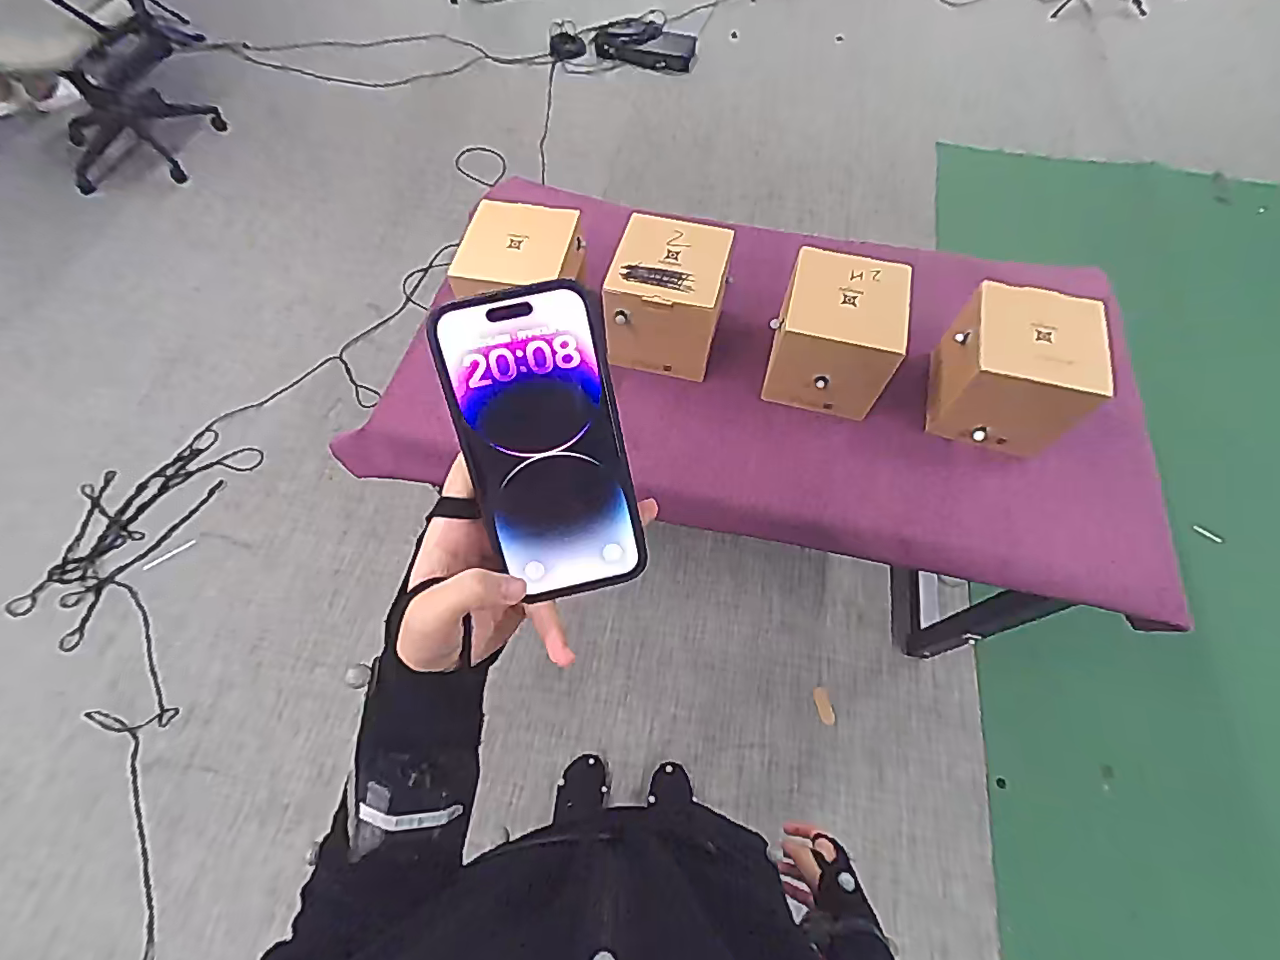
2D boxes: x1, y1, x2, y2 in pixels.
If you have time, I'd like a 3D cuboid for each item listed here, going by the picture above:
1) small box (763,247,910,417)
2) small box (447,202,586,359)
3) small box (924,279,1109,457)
[{"bbox_3d":[0.298,-0.224,0.842,0.168,0.176,0.179,14,63,7],"label":"small box"},{"bbox_3d":[-0.190,-0.324,0.897,0.168,0.176,0.179,8,62,5],"label":"small box"},{"bbox_3d":[0.549,-0.163,0.812,0.168,0.176,0.179,15,64,9],"label":"small box"}]
